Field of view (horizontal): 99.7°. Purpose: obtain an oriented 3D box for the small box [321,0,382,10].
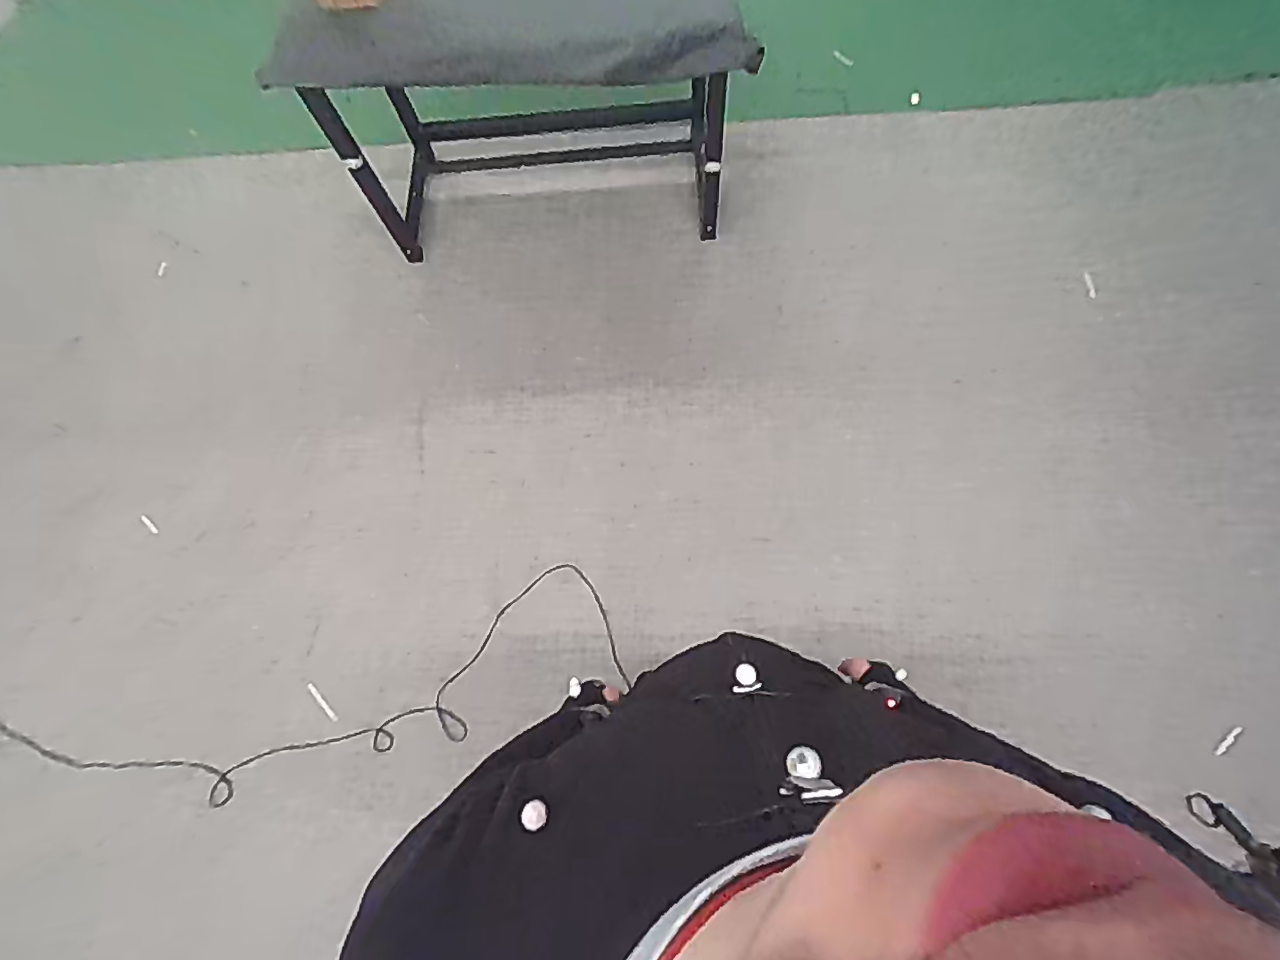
[{"bbox_3d":[-0.786,-1.384,1.425,0.168,0.176,0.179,-1,70,3],"label":"small box"}]
